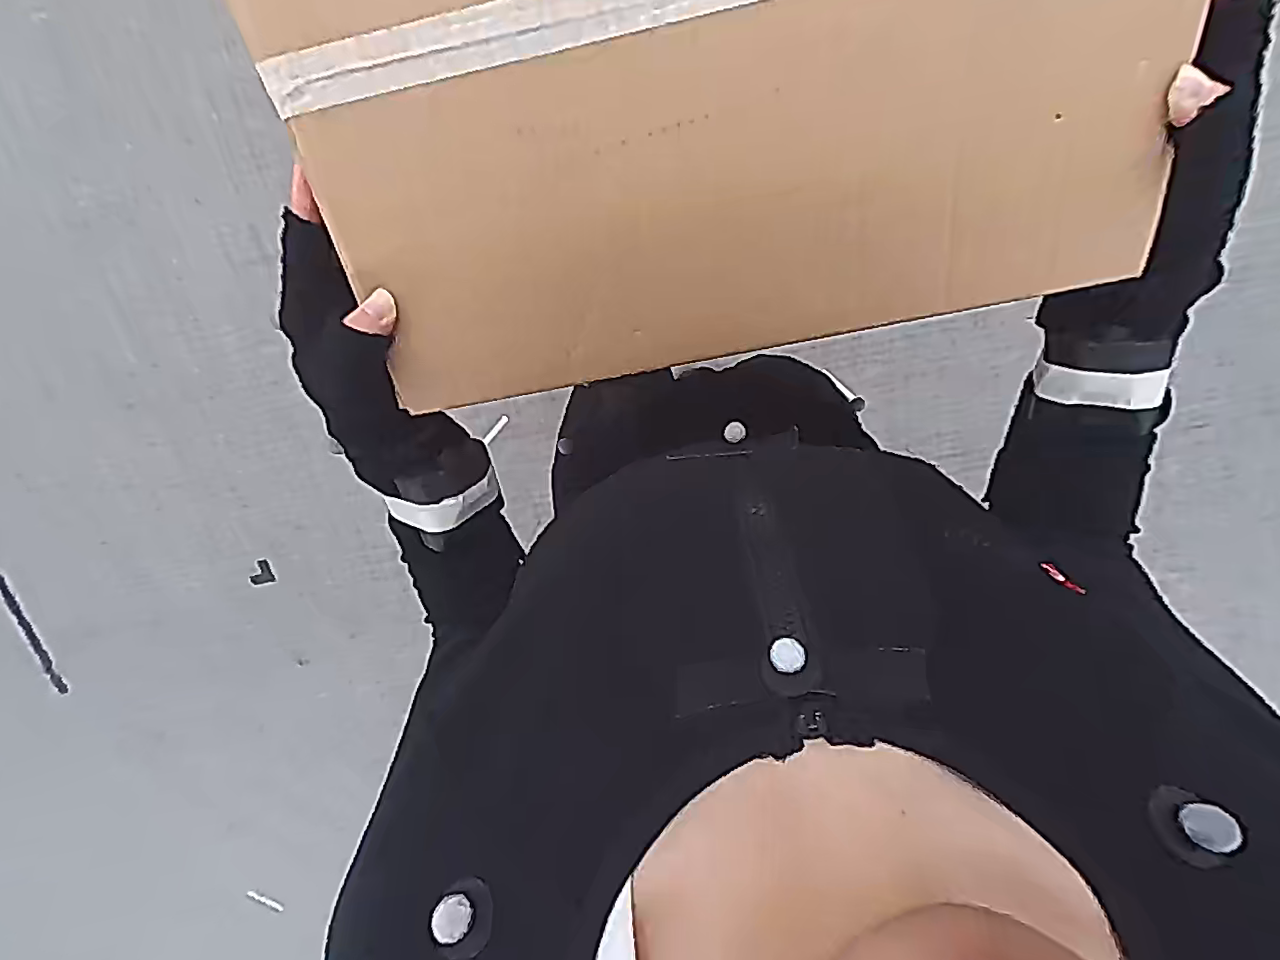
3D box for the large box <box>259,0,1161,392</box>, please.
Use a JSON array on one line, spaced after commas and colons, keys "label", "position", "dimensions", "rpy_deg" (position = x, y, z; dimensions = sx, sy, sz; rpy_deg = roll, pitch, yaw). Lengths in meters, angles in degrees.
[{"label": "large box", "position": [0.027, -0.288, 0.372], "dimensions": [0.408, 0.320, 0.320], "rpy_deg": [-10, 118, 4]}]
